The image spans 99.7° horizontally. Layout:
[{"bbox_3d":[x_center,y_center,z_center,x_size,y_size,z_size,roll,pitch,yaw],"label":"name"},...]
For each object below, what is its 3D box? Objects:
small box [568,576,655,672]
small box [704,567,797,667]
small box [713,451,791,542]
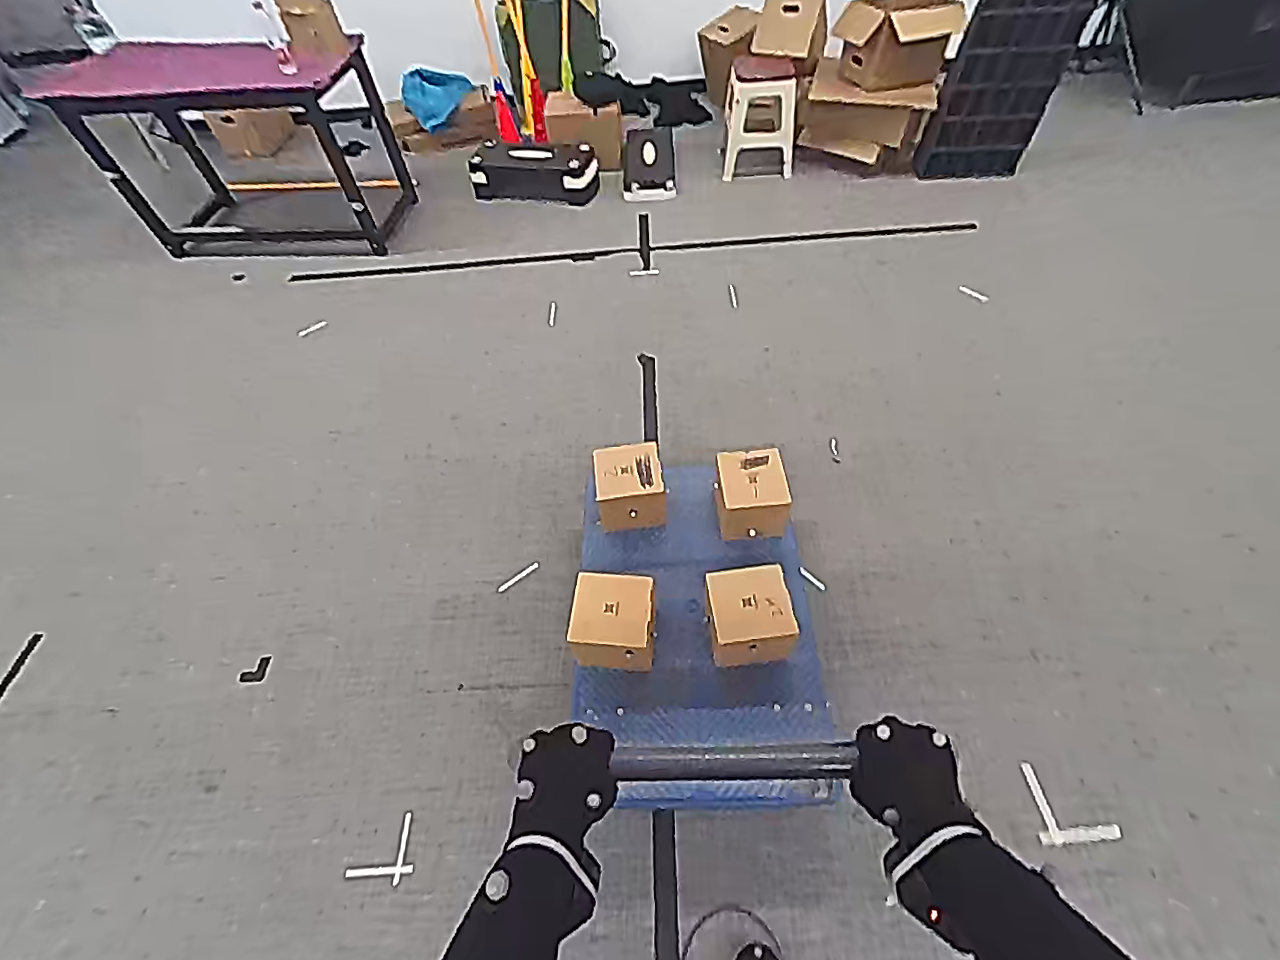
[{"bbox_3d":[-0.059,0.339,1.264,0.179,0.176,0.168,3,54,5],"label":"small box"},{"bbox_3d":[0.247,0.321,1.250,0.179,0.176,0.168,-7,55,0],"label":"small box"},{"bbox_3d":[0.290,0.046,1.443,0.168,0.176,0.179,-5,55,1],"label":"small box"}]
